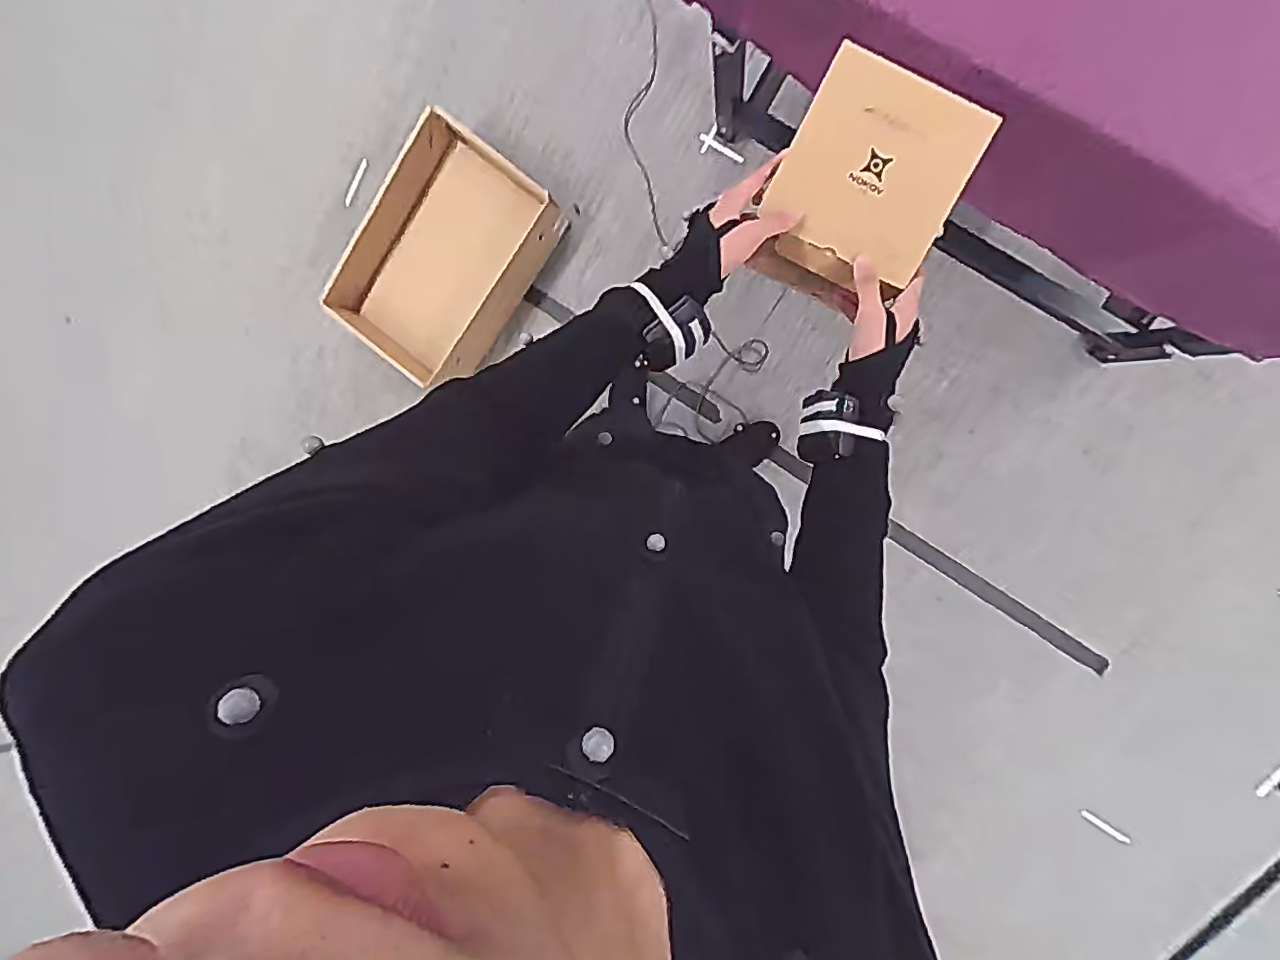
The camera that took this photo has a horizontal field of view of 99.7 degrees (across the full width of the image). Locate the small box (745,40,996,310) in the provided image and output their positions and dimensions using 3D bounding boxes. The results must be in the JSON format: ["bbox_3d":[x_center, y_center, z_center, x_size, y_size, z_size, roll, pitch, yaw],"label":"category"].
[{"bbox_3d":[0.226,-0.306,0.590,0.168,0.176,0.179,27,99,1],"label":"small box"}]
